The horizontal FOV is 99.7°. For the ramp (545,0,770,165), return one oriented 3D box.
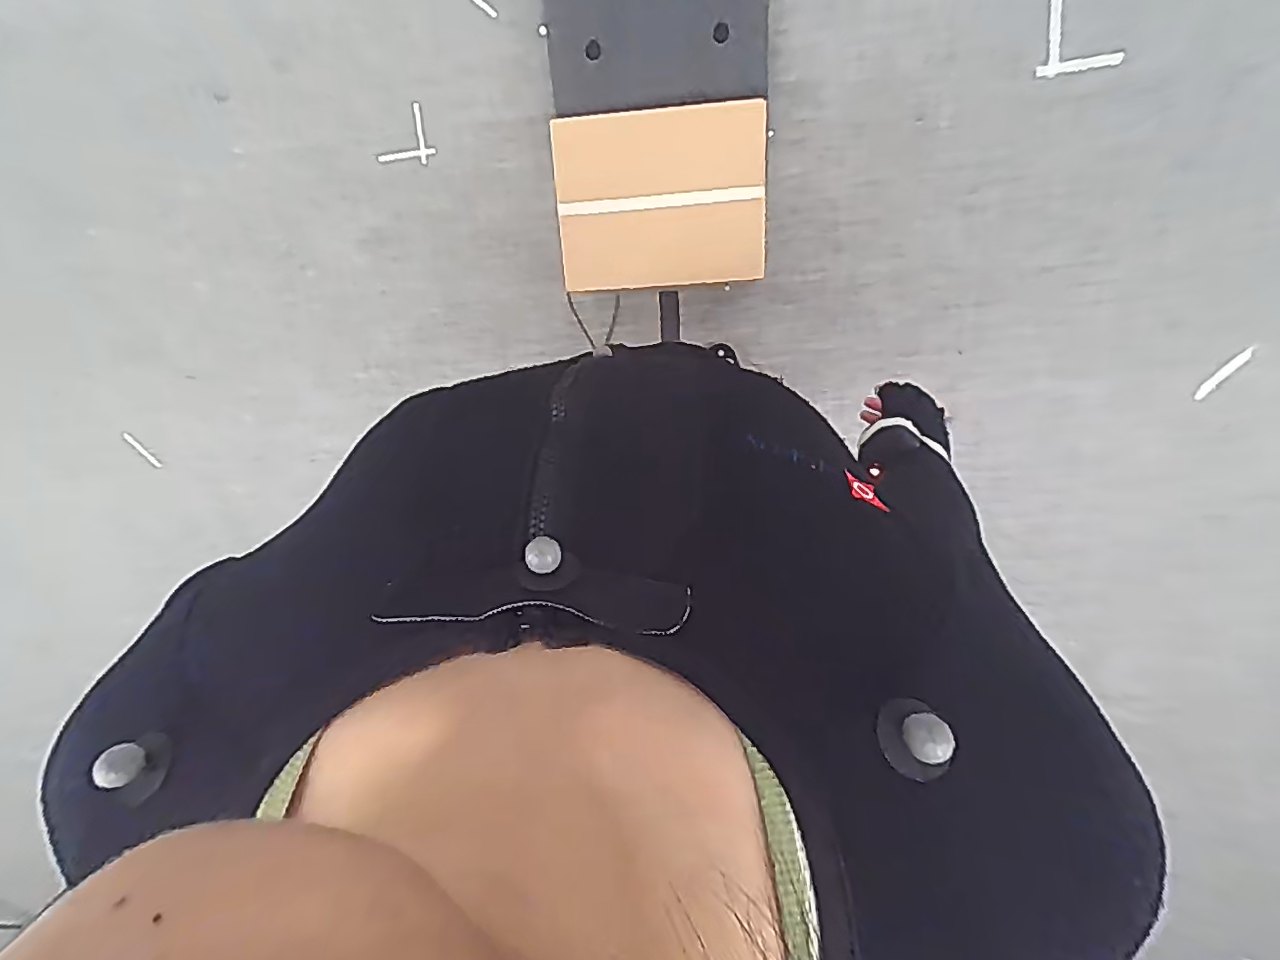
[{"bbox_3d":[0.024,-1.184,1.120,0.509,0.206,0.991,-4,104,6],"label":"ramp"}]

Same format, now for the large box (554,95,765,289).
[{"bbox_3d":[0.056,-0.599,1.196,0.408,0.320,0.320,-2,107,6],"label":"large box"}]
